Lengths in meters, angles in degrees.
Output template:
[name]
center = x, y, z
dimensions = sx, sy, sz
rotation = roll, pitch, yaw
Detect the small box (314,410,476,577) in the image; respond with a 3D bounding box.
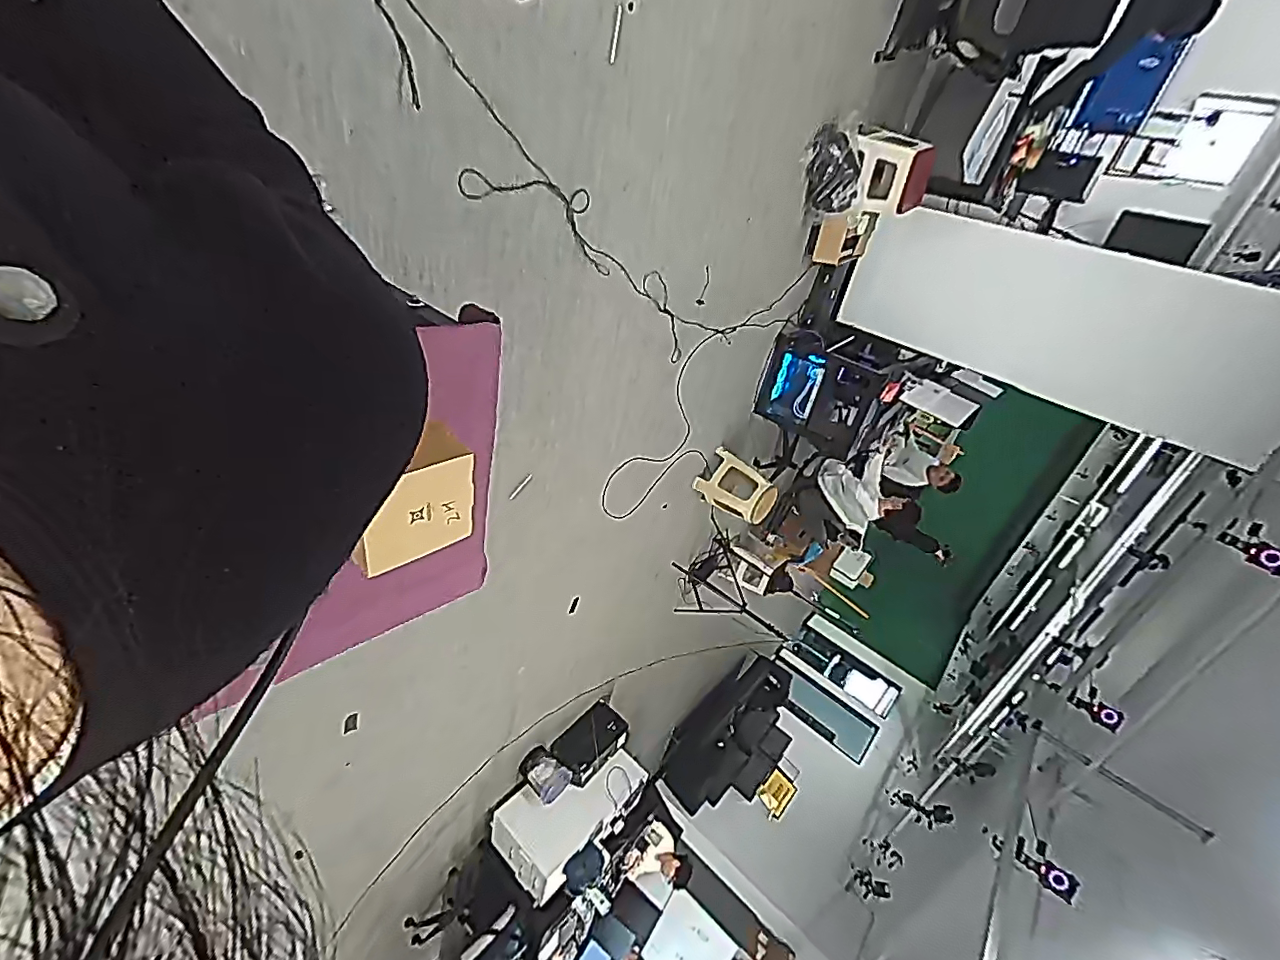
[small box]
center = -0.379, 0.012, 0.837
dimensions = 0.179, 0.176, 0.168
rotation = -25, 139, -44
